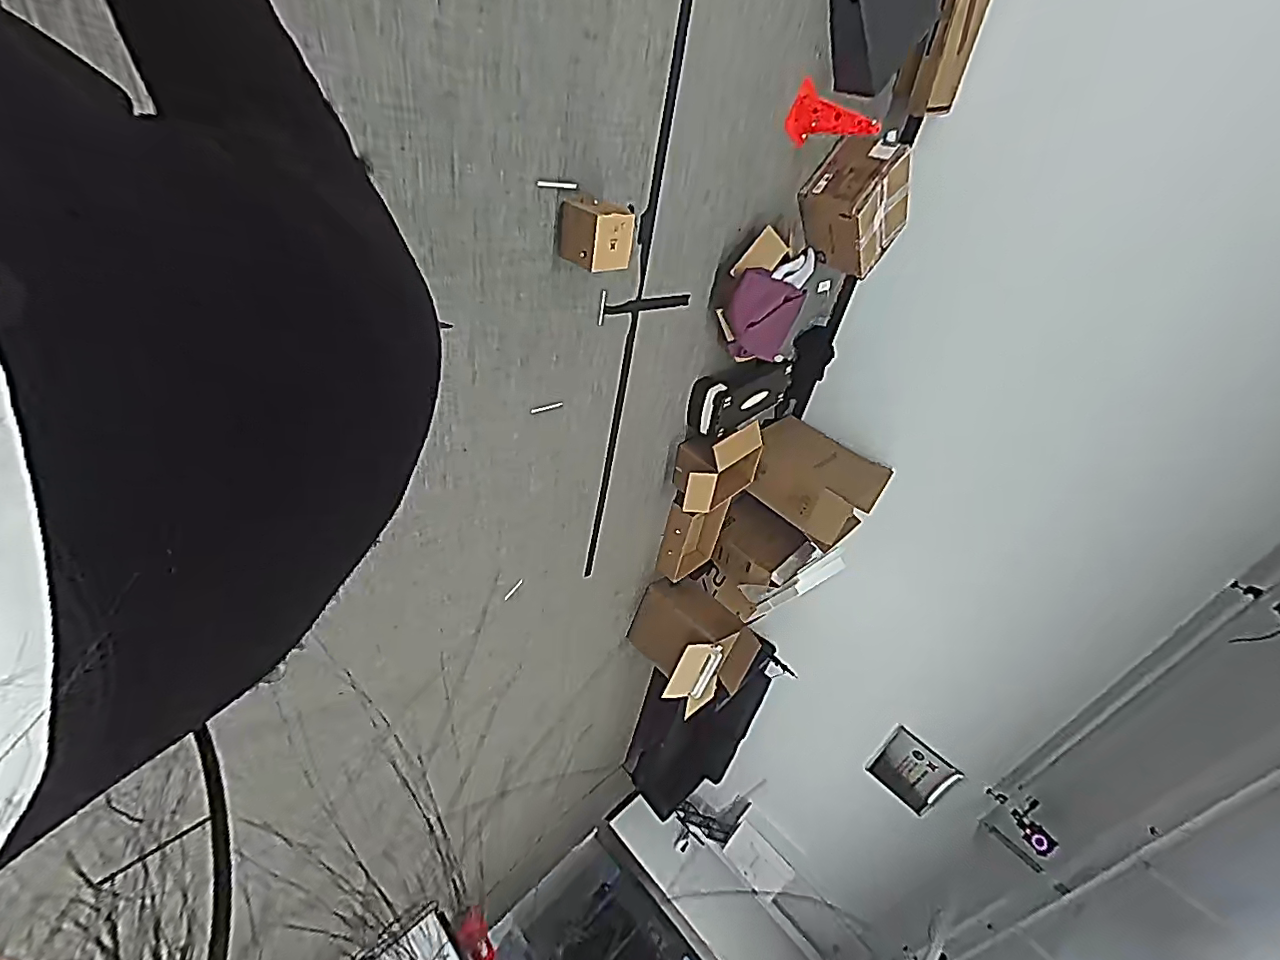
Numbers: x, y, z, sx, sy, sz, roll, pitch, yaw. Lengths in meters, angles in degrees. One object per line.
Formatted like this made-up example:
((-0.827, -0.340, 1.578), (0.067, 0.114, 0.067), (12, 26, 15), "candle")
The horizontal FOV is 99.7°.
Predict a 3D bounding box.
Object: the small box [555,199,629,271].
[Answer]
((-0.162, -0.806, 1.775), (0.168, 0.176, 0.179), (-25, 140, -40), "small box")
